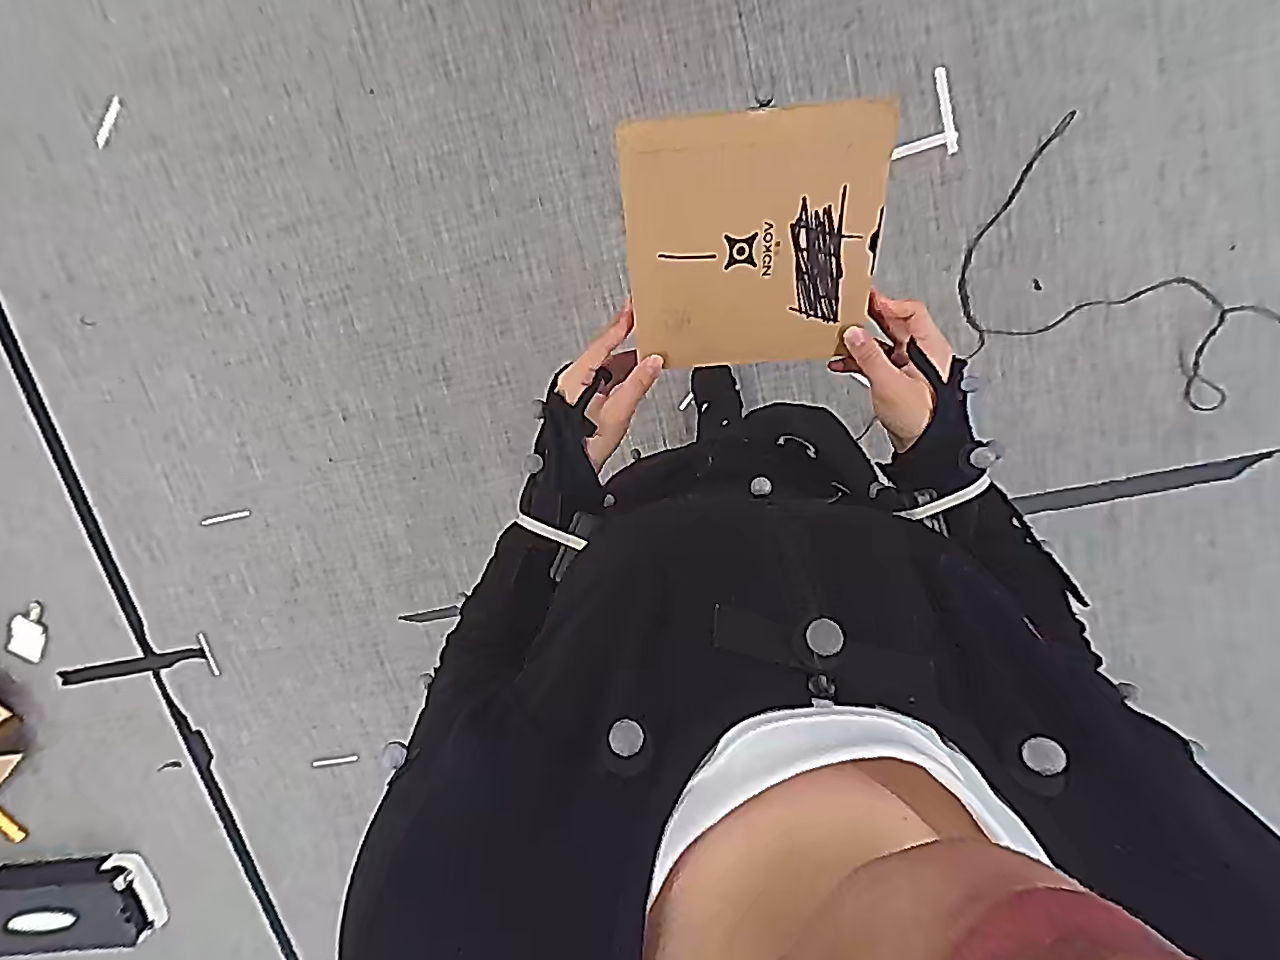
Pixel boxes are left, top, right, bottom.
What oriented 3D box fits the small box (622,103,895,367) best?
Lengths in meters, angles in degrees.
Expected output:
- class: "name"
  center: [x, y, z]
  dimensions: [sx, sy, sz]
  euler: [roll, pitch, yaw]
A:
- class: "small box"
  center: [0.079, -0.207, 0.449]
  dimensions: [0.179, 0.176, 0.168]
  euler: [-4, 124, 3]
